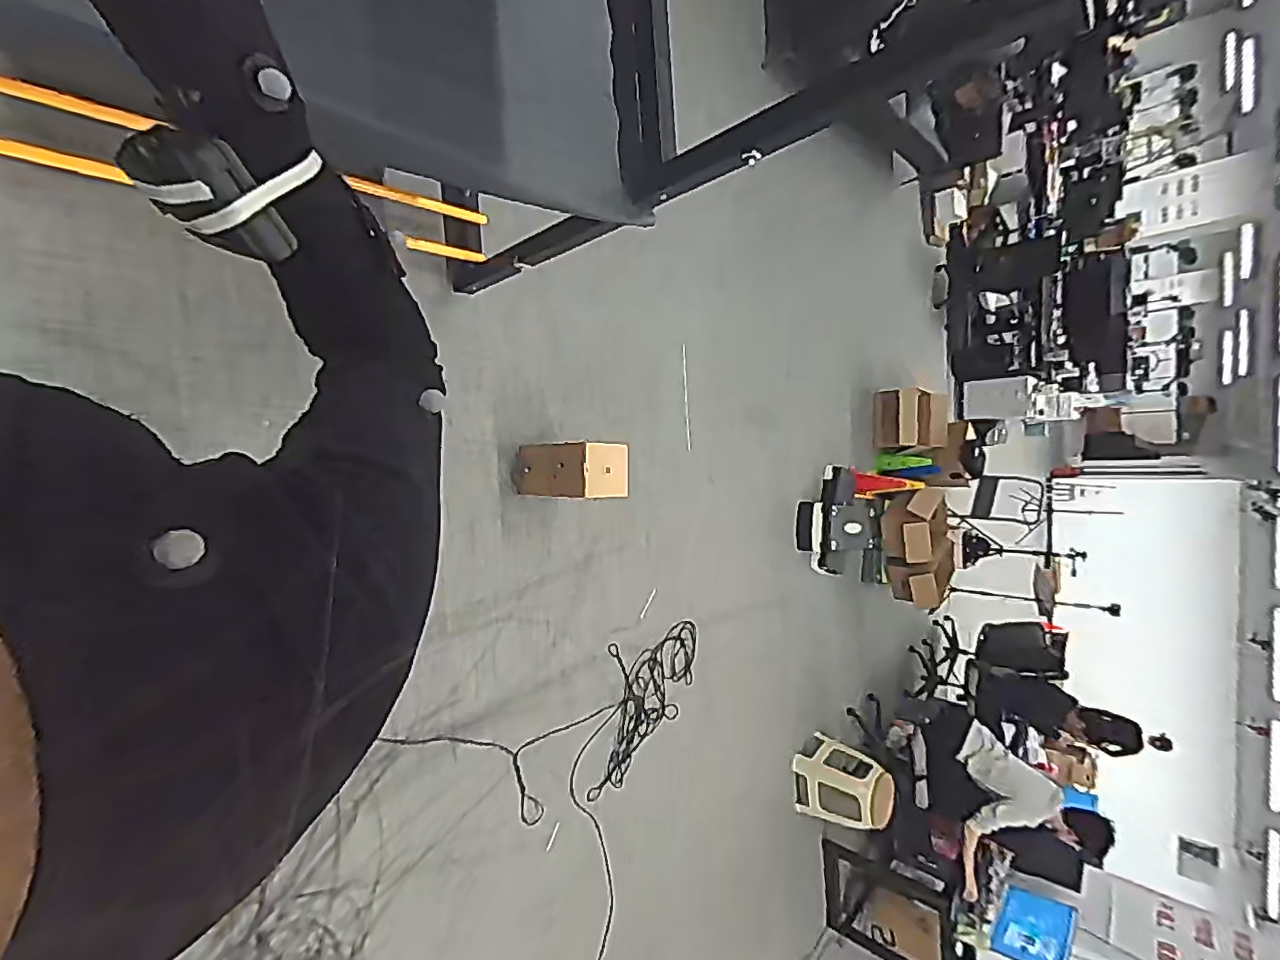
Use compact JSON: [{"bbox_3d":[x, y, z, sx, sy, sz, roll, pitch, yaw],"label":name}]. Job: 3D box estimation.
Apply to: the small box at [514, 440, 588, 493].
[{"bbox_3d":[-0.295,-0.042,1.793,0.179,0.176,0.168,2,89,-46],"label":"small box"}]
